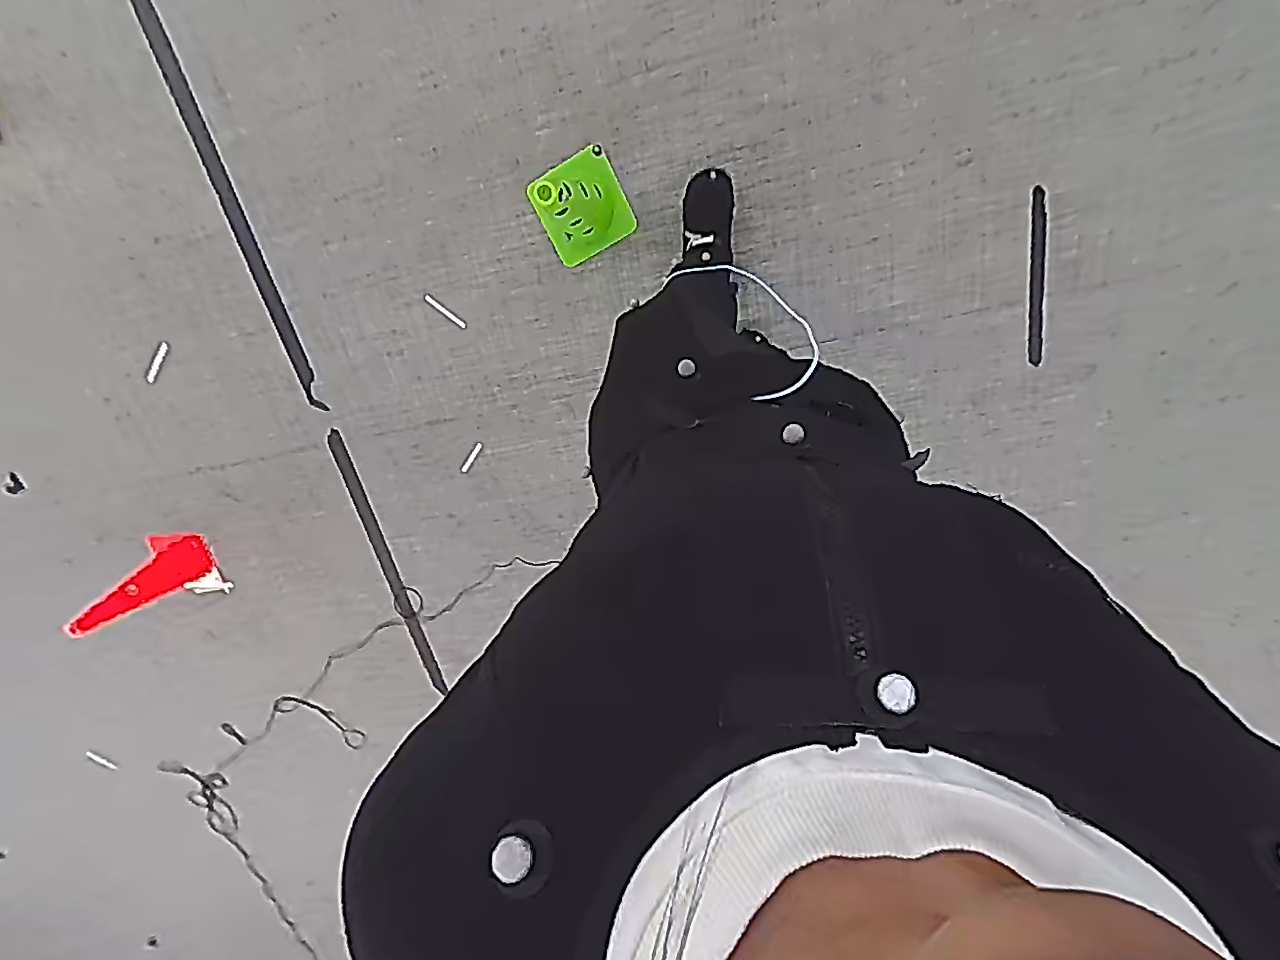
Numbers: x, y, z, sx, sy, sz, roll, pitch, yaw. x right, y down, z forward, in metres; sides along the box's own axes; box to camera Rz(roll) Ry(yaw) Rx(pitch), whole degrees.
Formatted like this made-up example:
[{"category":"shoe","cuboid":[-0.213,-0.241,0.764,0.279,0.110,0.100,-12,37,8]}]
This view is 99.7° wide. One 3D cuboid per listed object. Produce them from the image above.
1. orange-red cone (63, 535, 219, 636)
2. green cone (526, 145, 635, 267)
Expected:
[{"category":"orange-red cone","cuboid":[-1.497,0.331,1.595,0.198,0.360,0.199,-2,111,6]},{"category":"green cone","cuboid":[-0.153,-0.555,1.085,0.200,0.368,0.202,-24,110,16]}]
